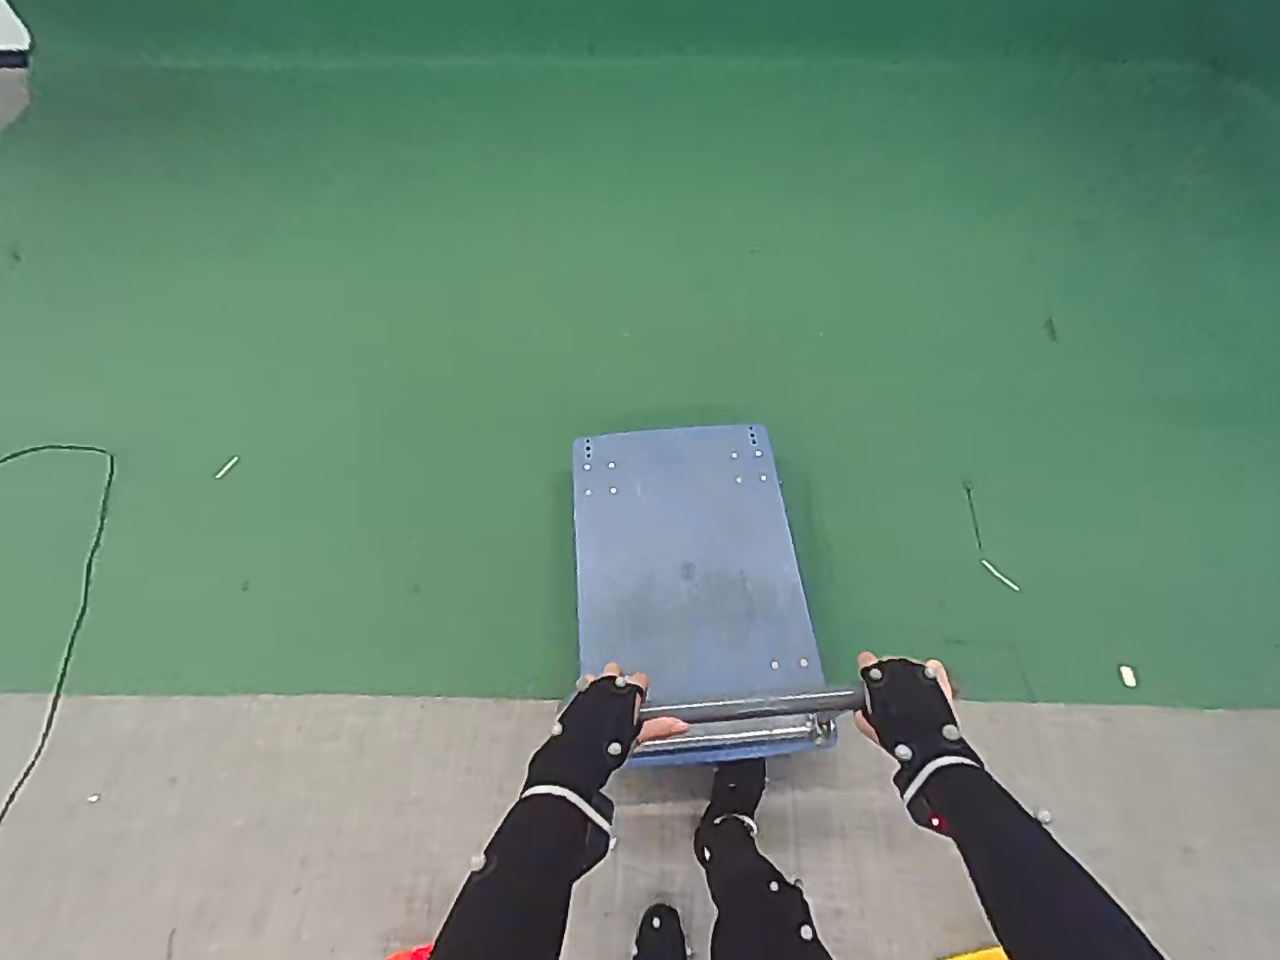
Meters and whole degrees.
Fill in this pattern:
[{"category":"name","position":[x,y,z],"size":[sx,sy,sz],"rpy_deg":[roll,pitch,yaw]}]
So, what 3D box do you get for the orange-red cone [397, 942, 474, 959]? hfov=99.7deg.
[{"category":"orange-red cone","position":[-0.444,1.024,0.972],"size":[0.199,0.360,0.198],"rpy_deg":[-13,63,-5]}]
